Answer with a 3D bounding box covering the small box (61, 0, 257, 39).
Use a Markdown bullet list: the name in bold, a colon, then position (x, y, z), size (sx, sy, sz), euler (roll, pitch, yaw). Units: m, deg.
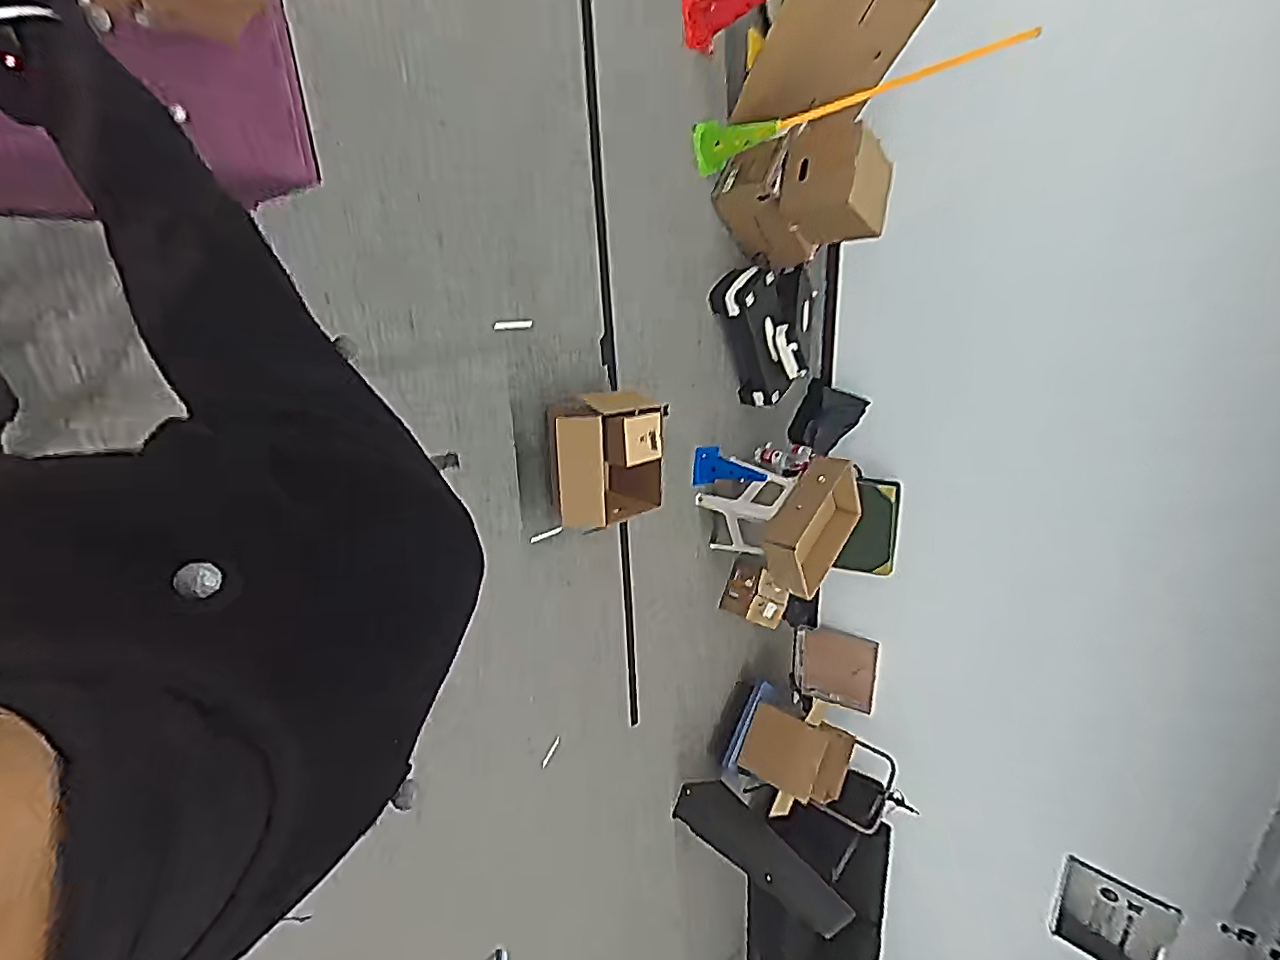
- **small box**: position (-0.506, -0.583, 0.529), size (0.168, 0.176, 0.179), euler (-25, 117, -41)
